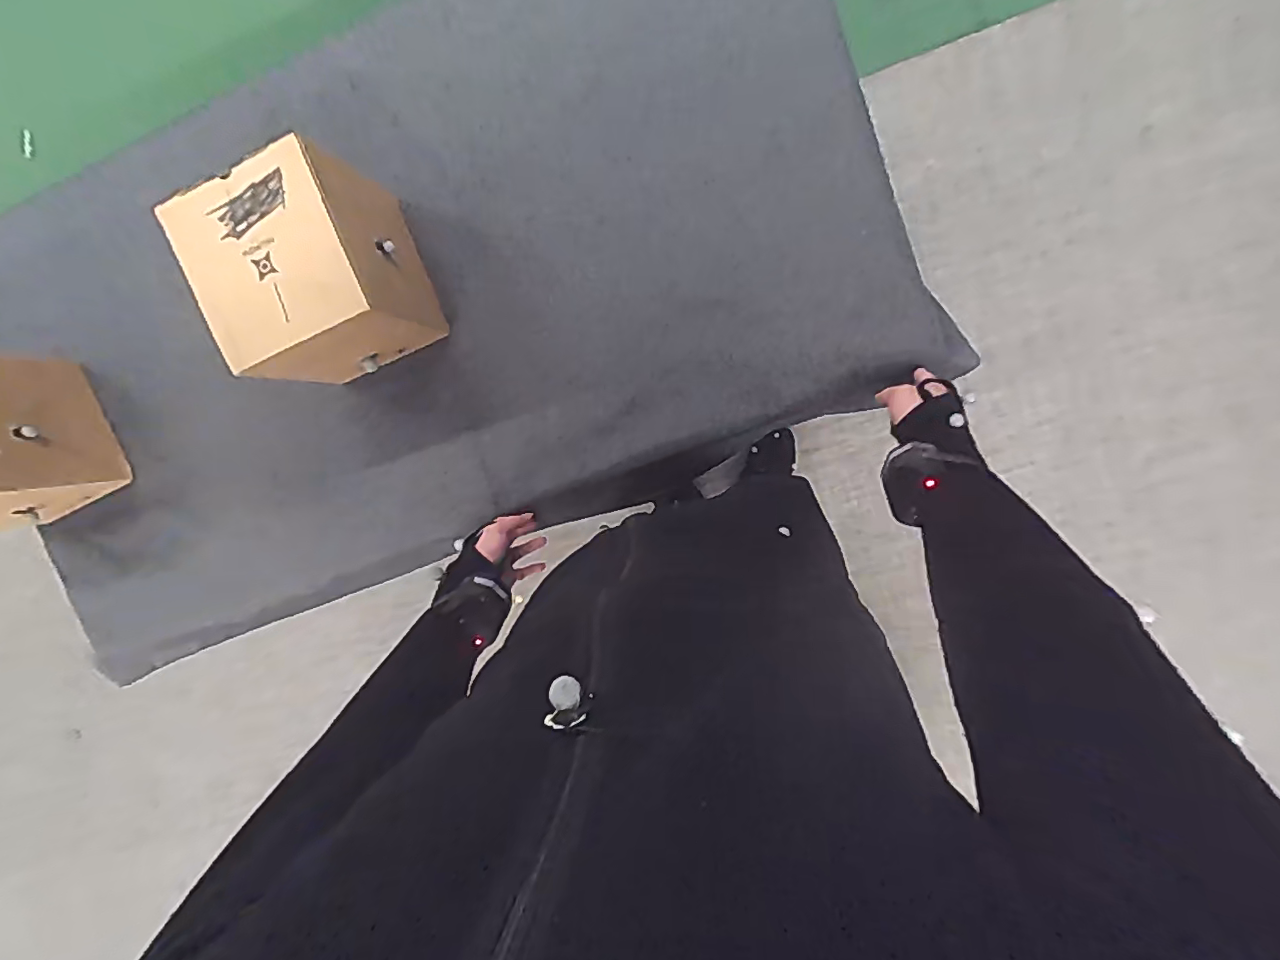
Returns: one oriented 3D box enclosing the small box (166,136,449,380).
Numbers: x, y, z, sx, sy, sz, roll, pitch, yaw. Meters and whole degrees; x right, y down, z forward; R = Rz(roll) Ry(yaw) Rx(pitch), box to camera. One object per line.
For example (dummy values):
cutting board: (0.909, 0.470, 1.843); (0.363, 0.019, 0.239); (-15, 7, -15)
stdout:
small box: (-0.347, -0.223, 0.598); (0.168, 0.176, 0.179); (-21, 94, 10)

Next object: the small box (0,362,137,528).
small box: (-0.805, -0.041, 0.681); (0.168, 0.176, 0.179); (-24, 94, 9)
